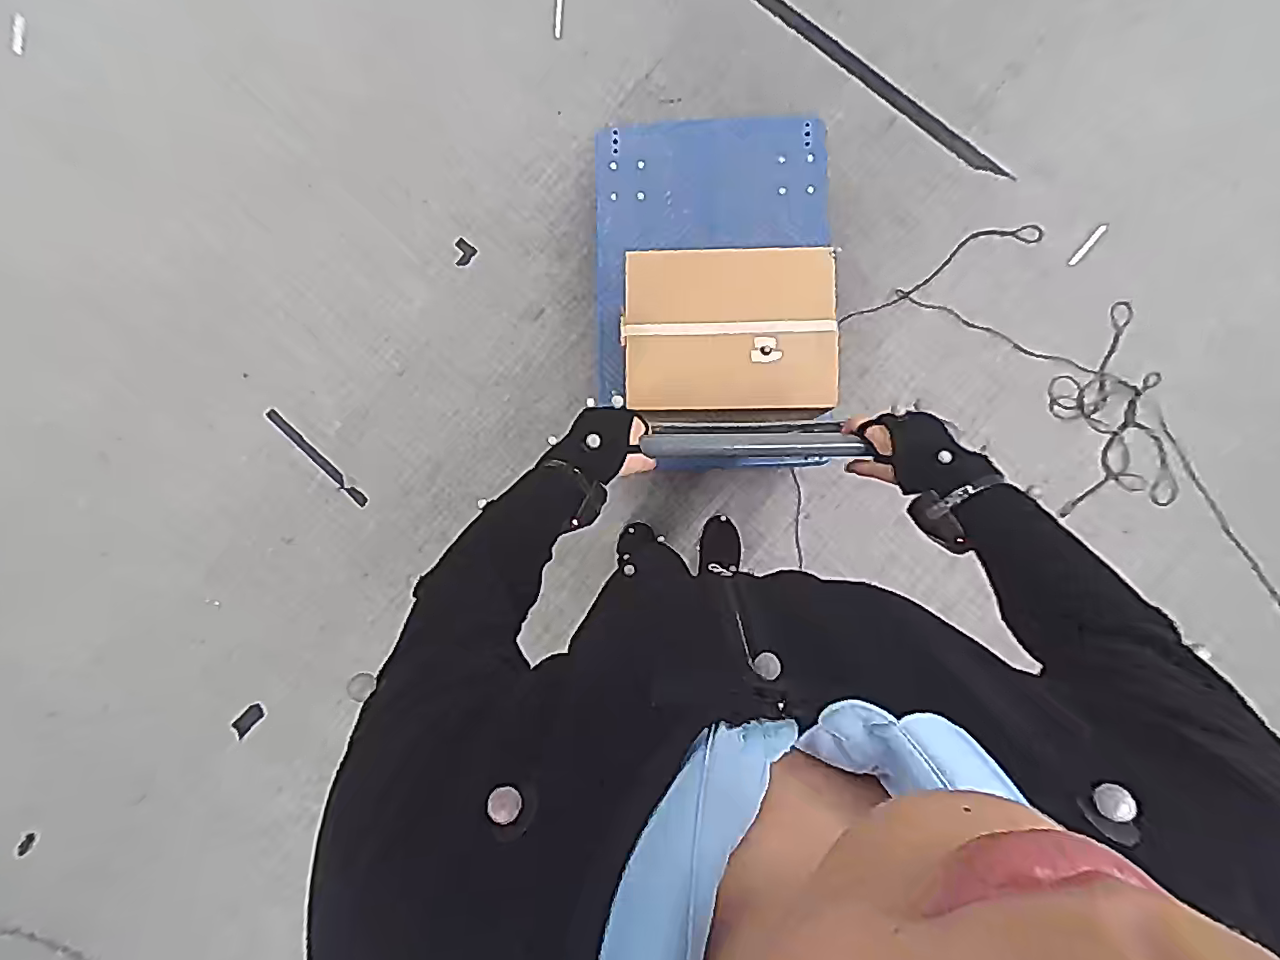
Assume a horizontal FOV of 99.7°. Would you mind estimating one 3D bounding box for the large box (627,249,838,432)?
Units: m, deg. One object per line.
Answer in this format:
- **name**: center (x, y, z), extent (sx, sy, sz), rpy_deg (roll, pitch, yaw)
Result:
- **large box**: center (0.181, -0.283, 1.193), extent (0.408, 0.320, 0.320), rpy_deg (-1, 89, 2)
